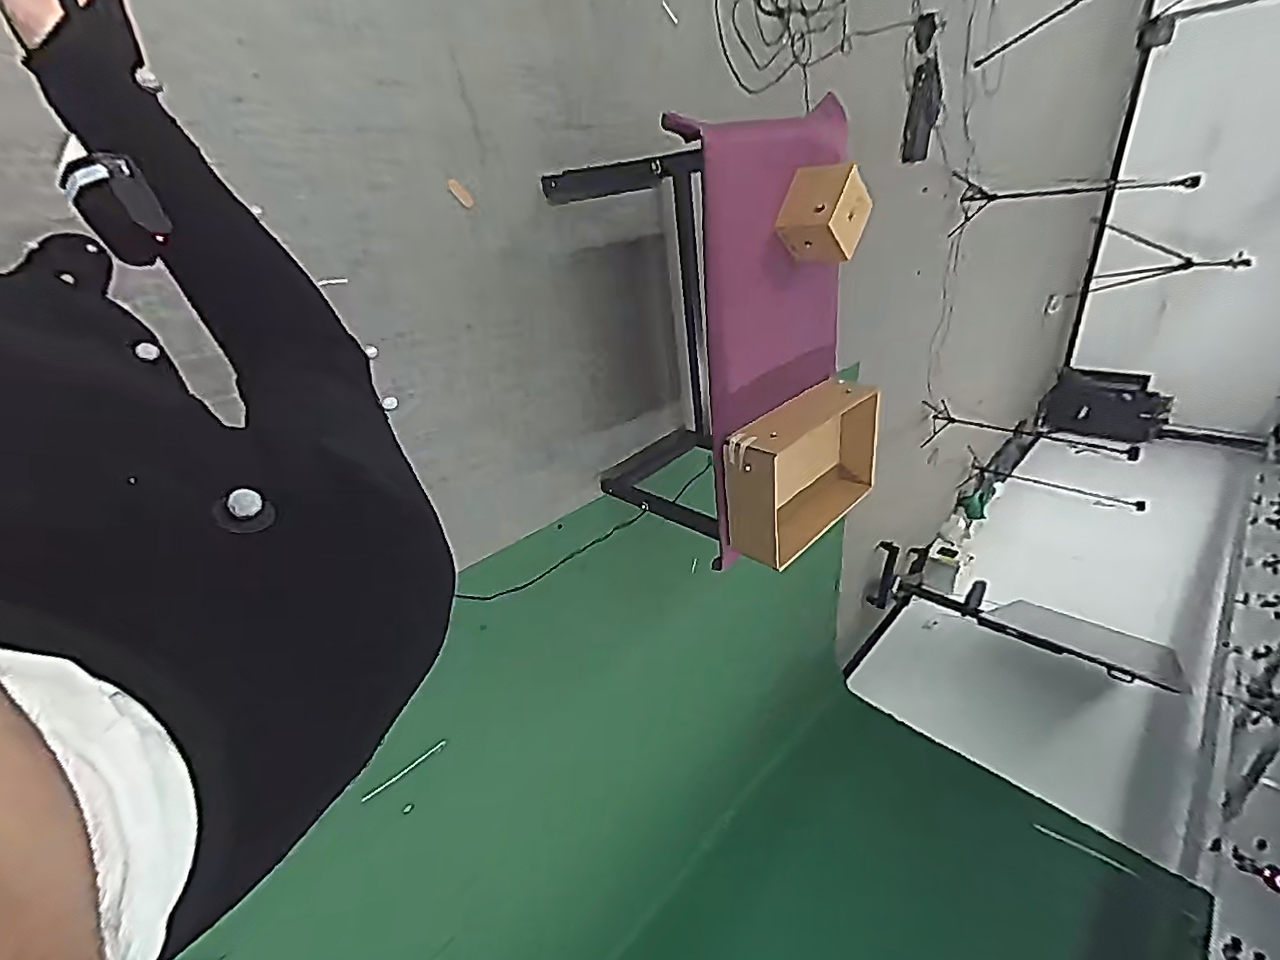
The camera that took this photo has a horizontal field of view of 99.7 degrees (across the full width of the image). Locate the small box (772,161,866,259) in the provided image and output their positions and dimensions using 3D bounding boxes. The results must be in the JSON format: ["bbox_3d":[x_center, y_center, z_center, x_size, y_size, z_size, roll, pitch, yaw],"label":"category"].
[{"bbox_3d":[0.484,-0.729,1.478,0.168,0.176,0.179,24,88,-49],"label":"small box"}]
